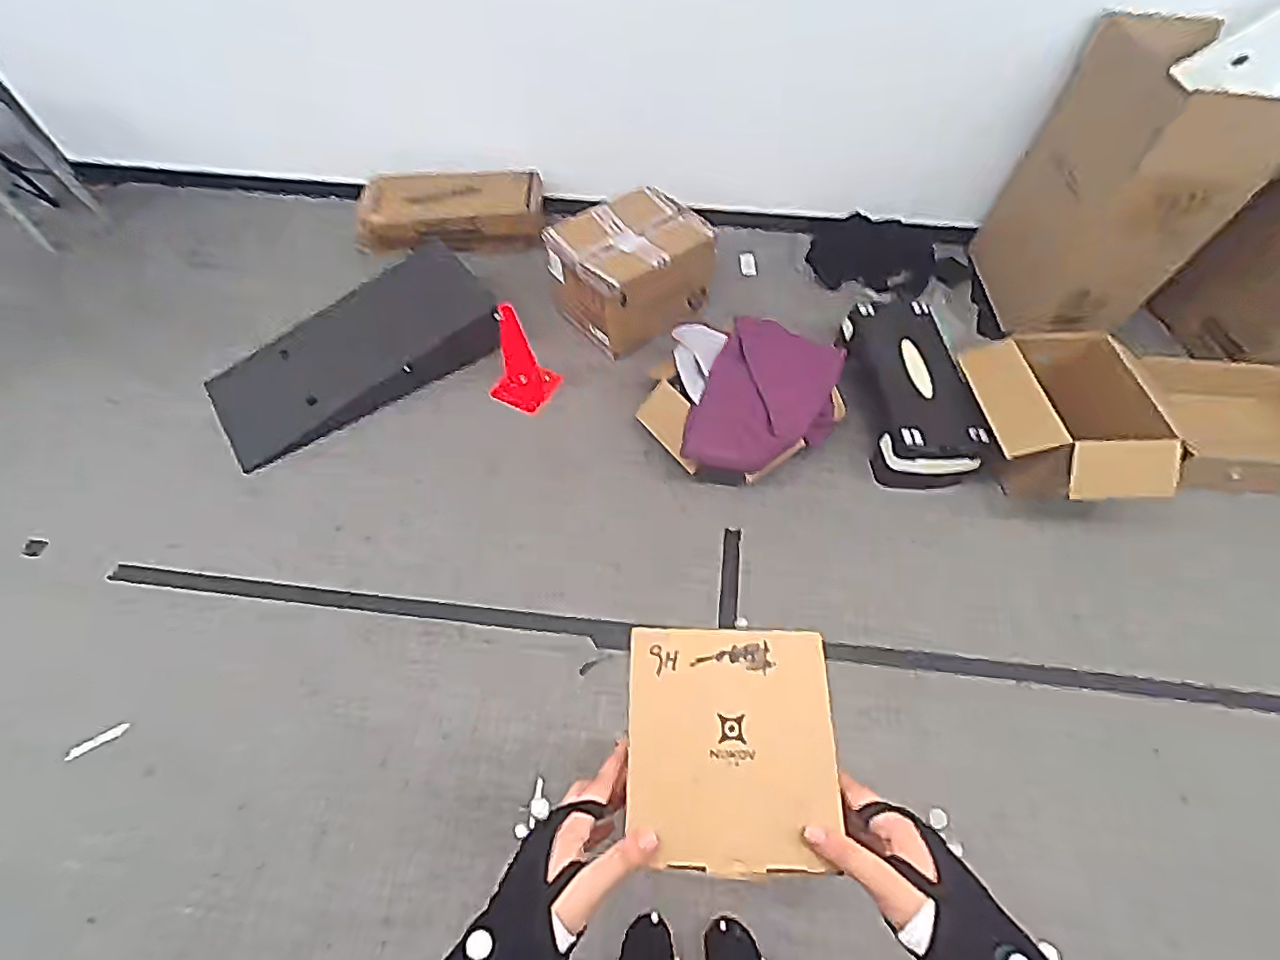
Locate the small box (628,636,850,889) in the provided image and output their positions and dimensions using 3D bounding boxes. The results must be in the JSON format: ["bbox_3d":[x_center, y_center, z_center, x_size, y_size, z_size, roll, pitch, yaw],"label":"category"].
[{"bbox_3d":[0.076,0.247,0.501,0.168,0.176,0.179,1,66,1],"label":"small box"}]
